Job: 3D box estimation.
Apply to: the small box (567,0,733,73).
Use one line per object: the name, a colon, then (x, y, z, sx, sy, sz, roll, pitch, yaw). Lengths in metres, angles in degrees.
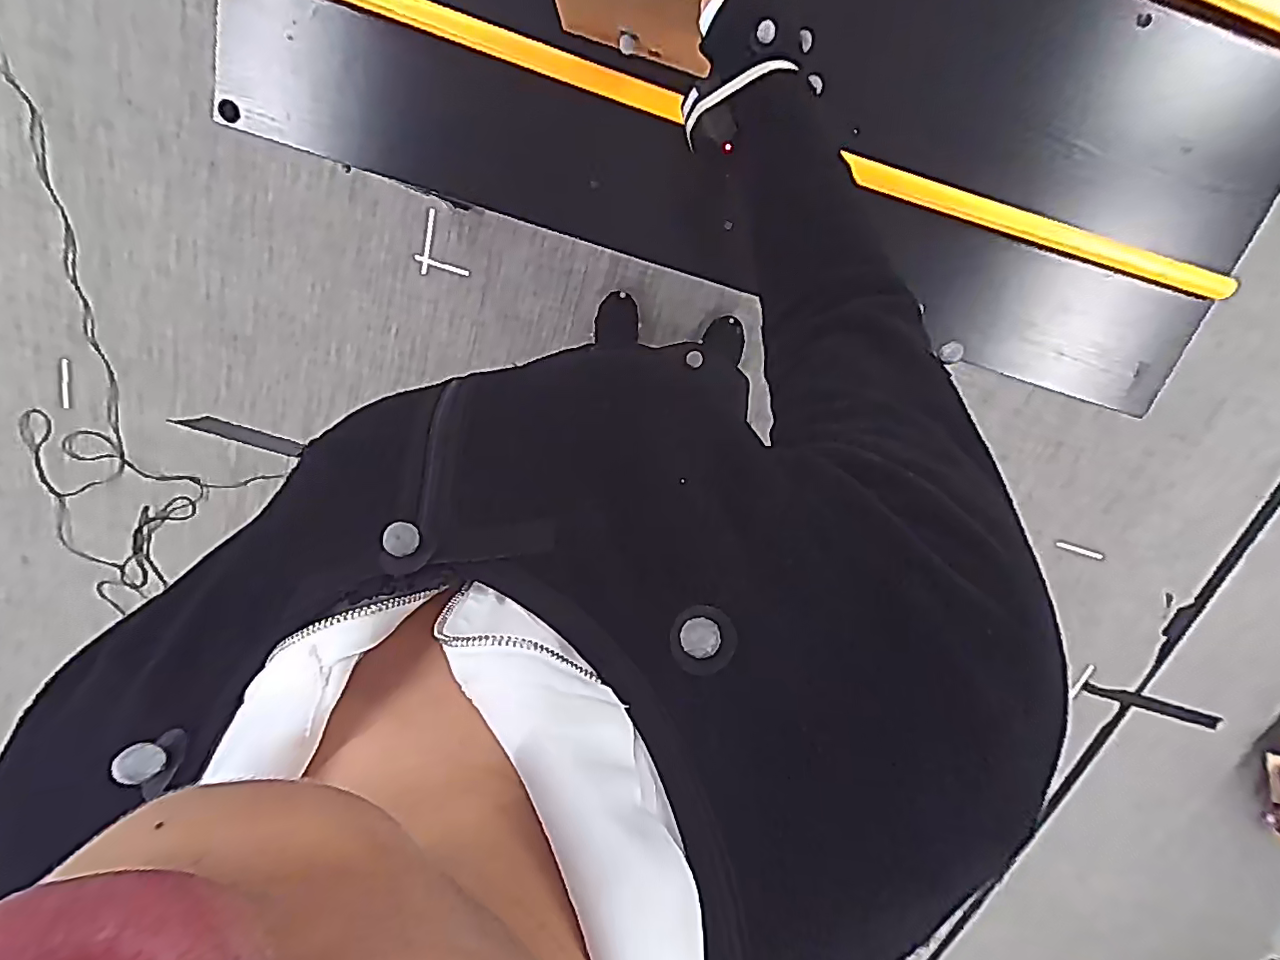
small box: (0.022, -0.522, 0.491, 0.168, 0.176, 0.179, 16, 109, -5)
